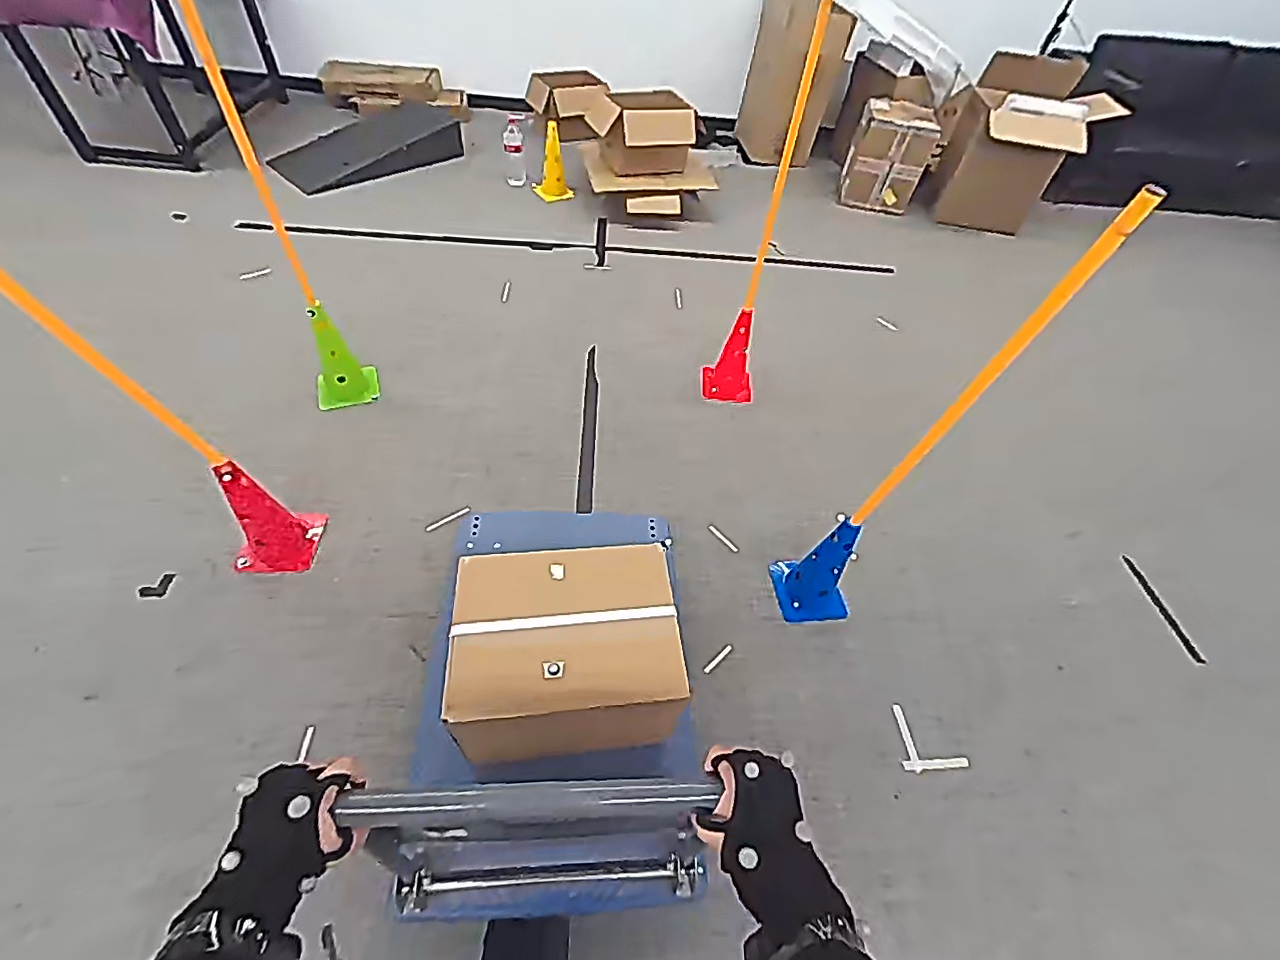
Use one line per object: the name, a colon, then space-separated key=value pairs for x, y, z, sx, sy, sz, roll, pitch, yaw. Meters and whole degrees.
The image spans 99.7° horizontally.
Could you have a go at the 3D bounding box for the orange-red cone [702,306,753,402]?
orange-red cone: x=0.369 y=-0.498 z=2.050 sx=0.199 sy=0.360 sz=0.198 roll=8 pitch=51 yaw=-2

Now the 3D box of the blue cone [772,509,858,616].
blue cone: x=0.520 y=0.214 z=1.502 sx=0.193 sy=0.380 sz=0.192 roll=-1 pitch=50 yaw=-8
